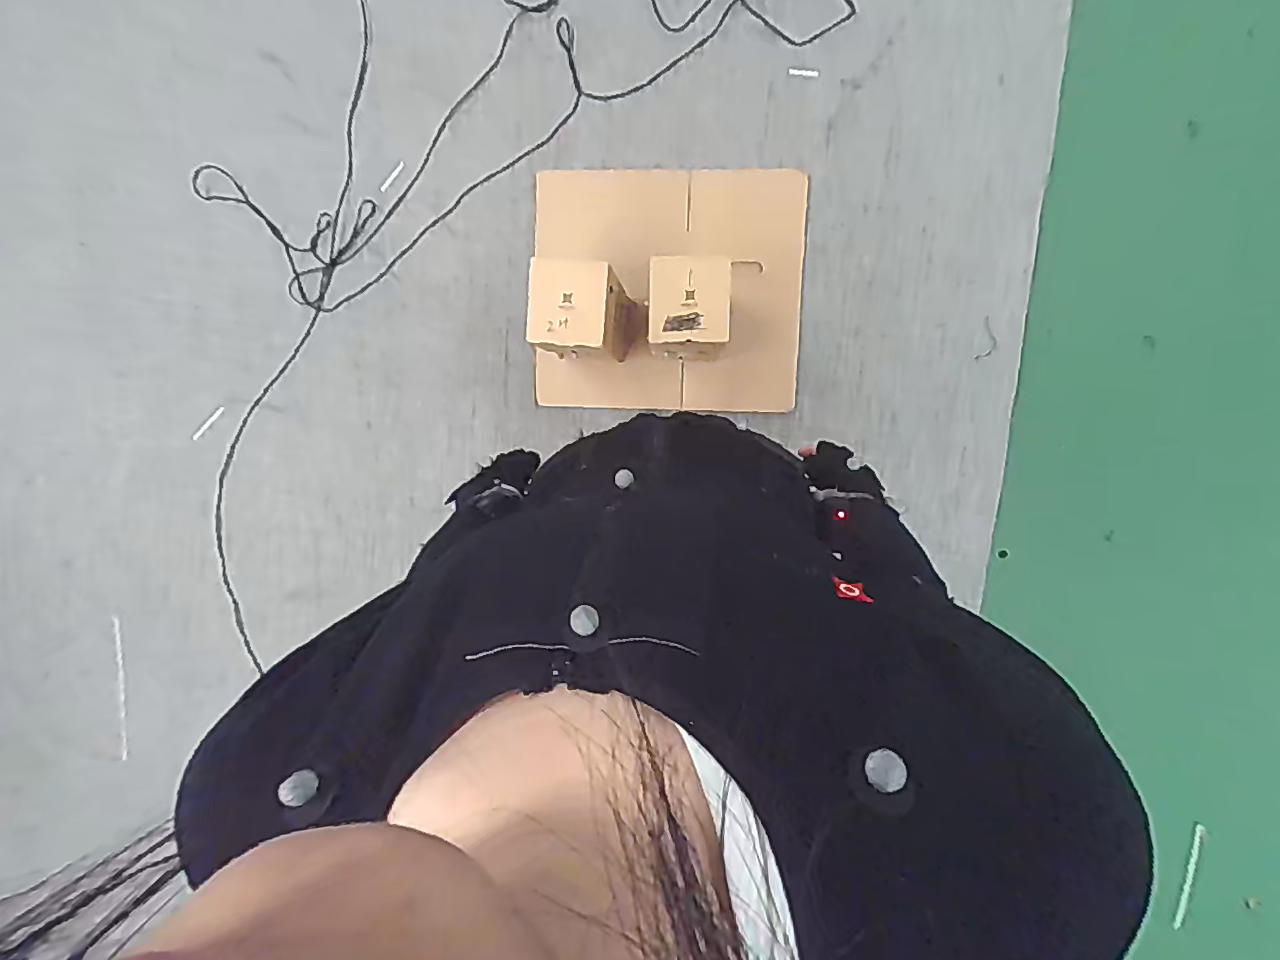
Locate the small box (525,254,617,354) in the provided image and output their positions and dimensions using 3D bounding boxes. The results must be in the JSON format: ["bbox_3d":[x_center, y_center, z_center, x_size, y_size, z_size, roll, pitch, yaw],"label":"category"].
[{"bbox_3d":[-0.146,-0.380,1.190,0.168,0.176,0.179,5,98,5],"label":"small box"}]

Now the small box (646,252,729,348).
[{"bbox_3d":[0.102,-0.381,1.172,0.168,0.176,0.179,1,97,4],"label":"small box"}]

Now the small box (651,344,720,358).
[{"bbox_3d":[0.113,-0.399,1.336,0.168,0.176,0.179,1,98,4],"label":"small box"}]
